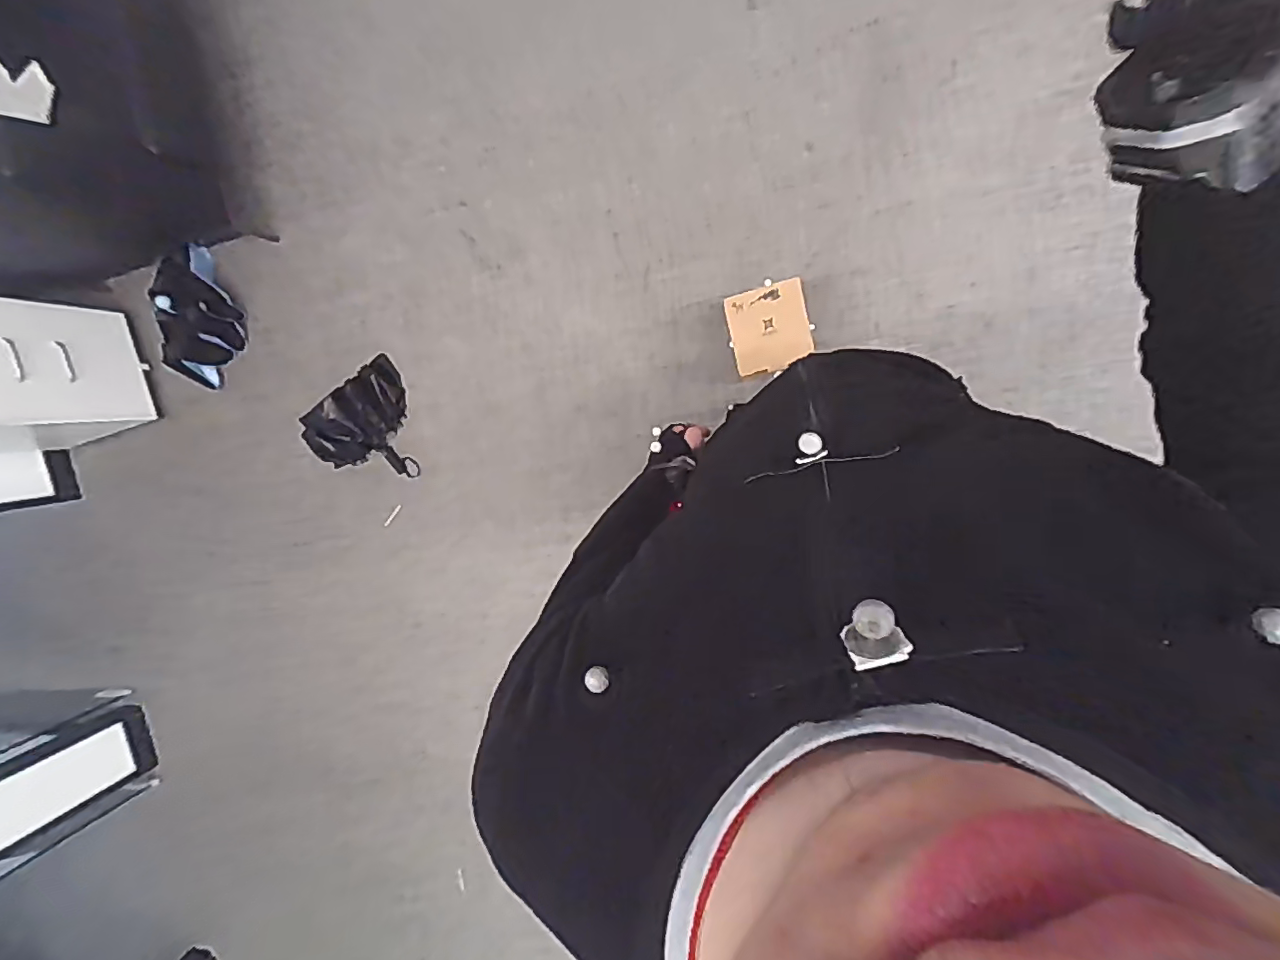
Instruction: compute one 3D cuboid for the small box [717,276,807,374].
[{"bbox_3d":[0.285,-0.348,1.244,0.168,0.176,0.179,-12,97,16],"label":"small box"}]
